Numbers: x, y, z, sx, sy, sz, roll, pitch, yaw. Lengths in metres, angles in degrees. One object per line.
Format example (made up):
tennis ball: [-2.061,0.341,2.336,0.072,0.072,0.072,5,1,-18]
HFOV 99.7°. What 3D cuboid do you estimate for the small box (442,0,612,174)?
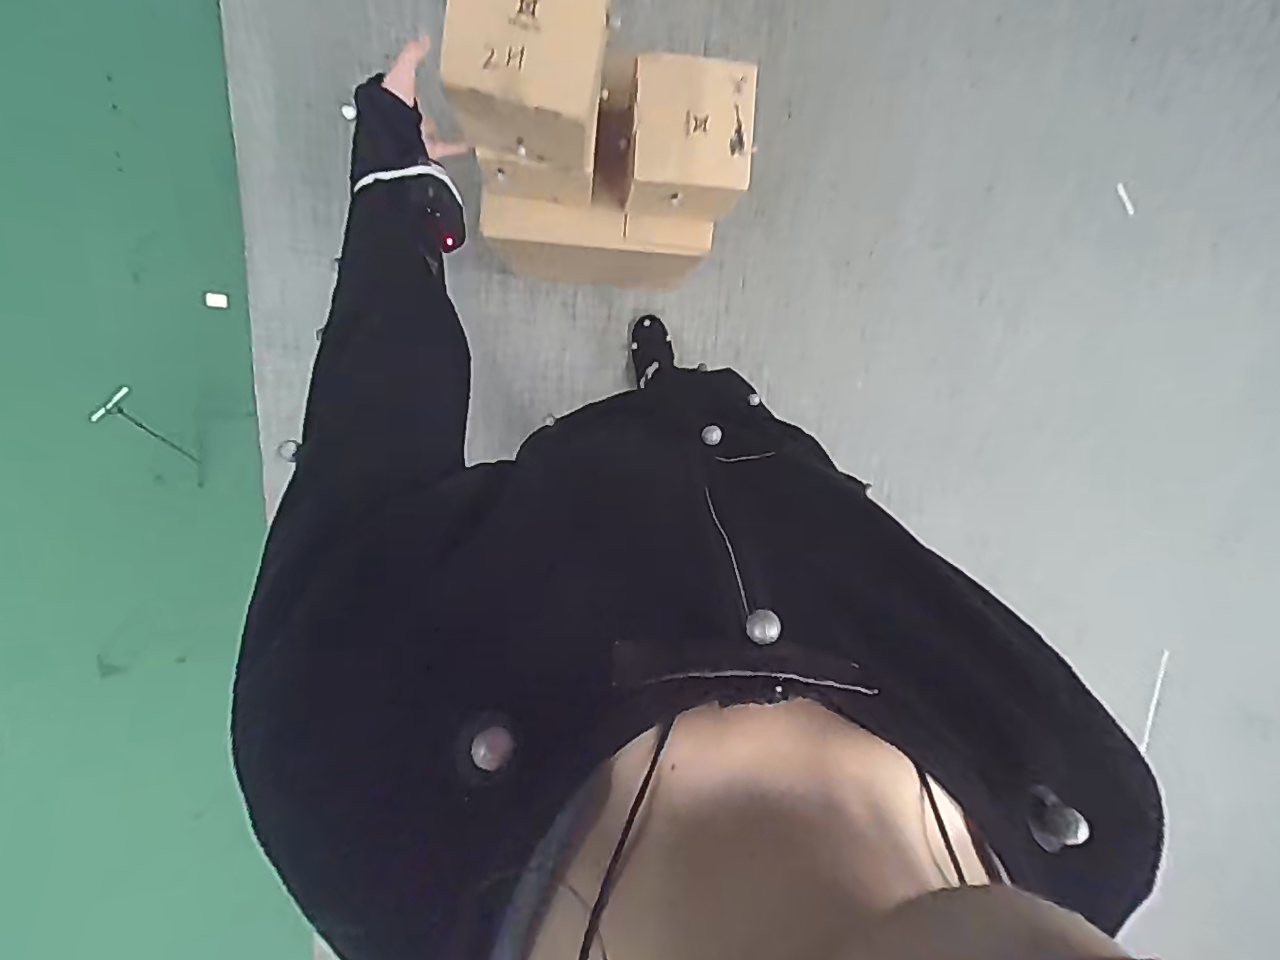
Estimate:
small box: [-0.131,-0.517,0.670,0.168,0.176,0.179,10,100,-8]
